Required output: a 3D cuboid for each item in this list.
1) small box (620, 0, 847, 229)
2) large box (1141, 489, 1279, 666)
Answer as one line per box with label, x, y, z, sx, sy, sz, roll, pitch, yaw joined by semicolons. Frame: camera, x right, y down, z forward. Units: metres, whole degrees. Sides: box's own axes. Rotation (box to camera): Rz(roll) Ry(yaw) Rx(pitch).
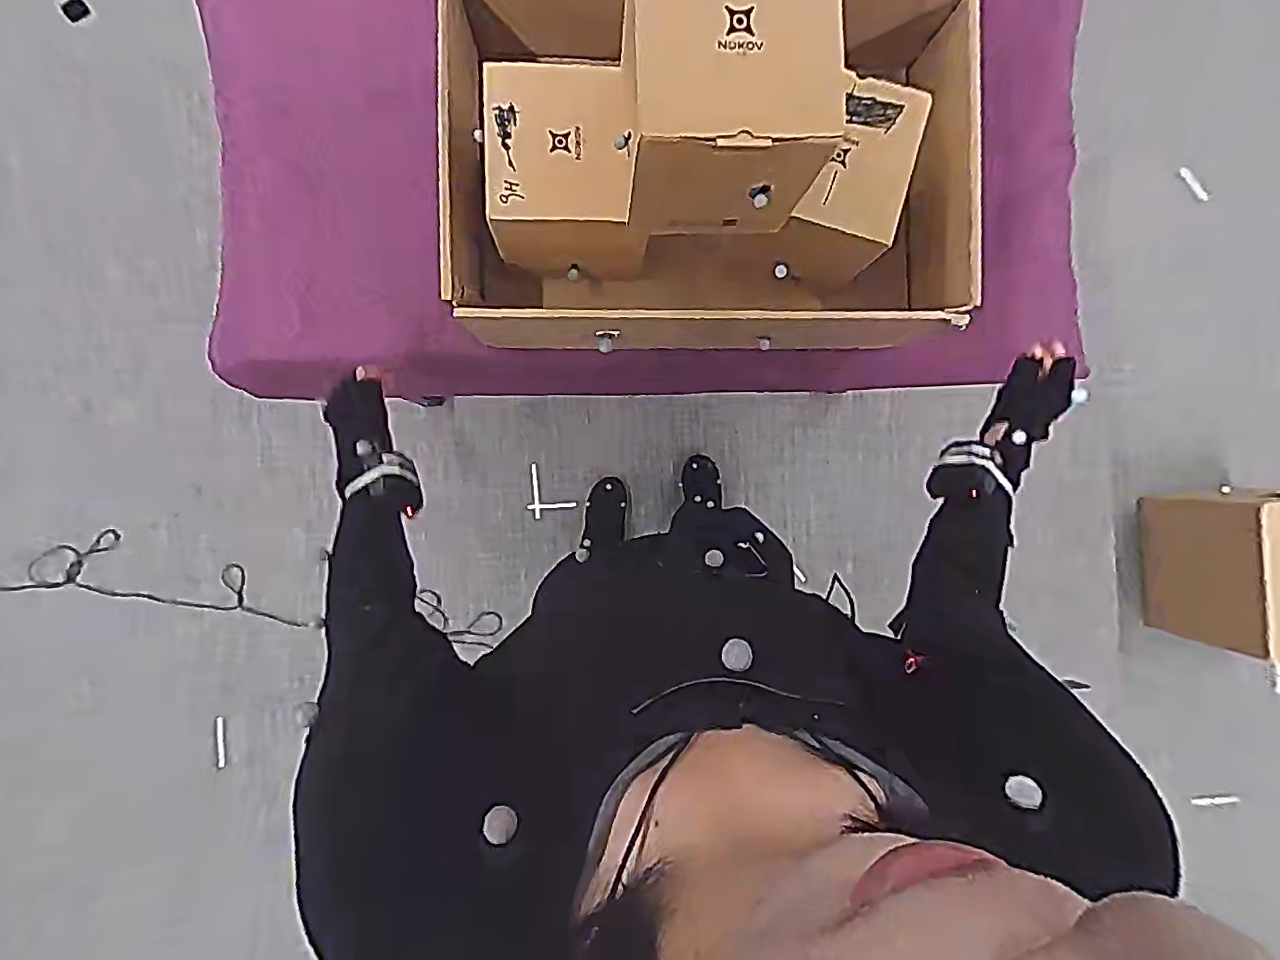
small box;0.070;-0.347;0.490;0.168;0.176;0.179;-3;90;-5
large box;1.681;0.244;1.491;0.320;0.320;0.408;-6;92;-3
